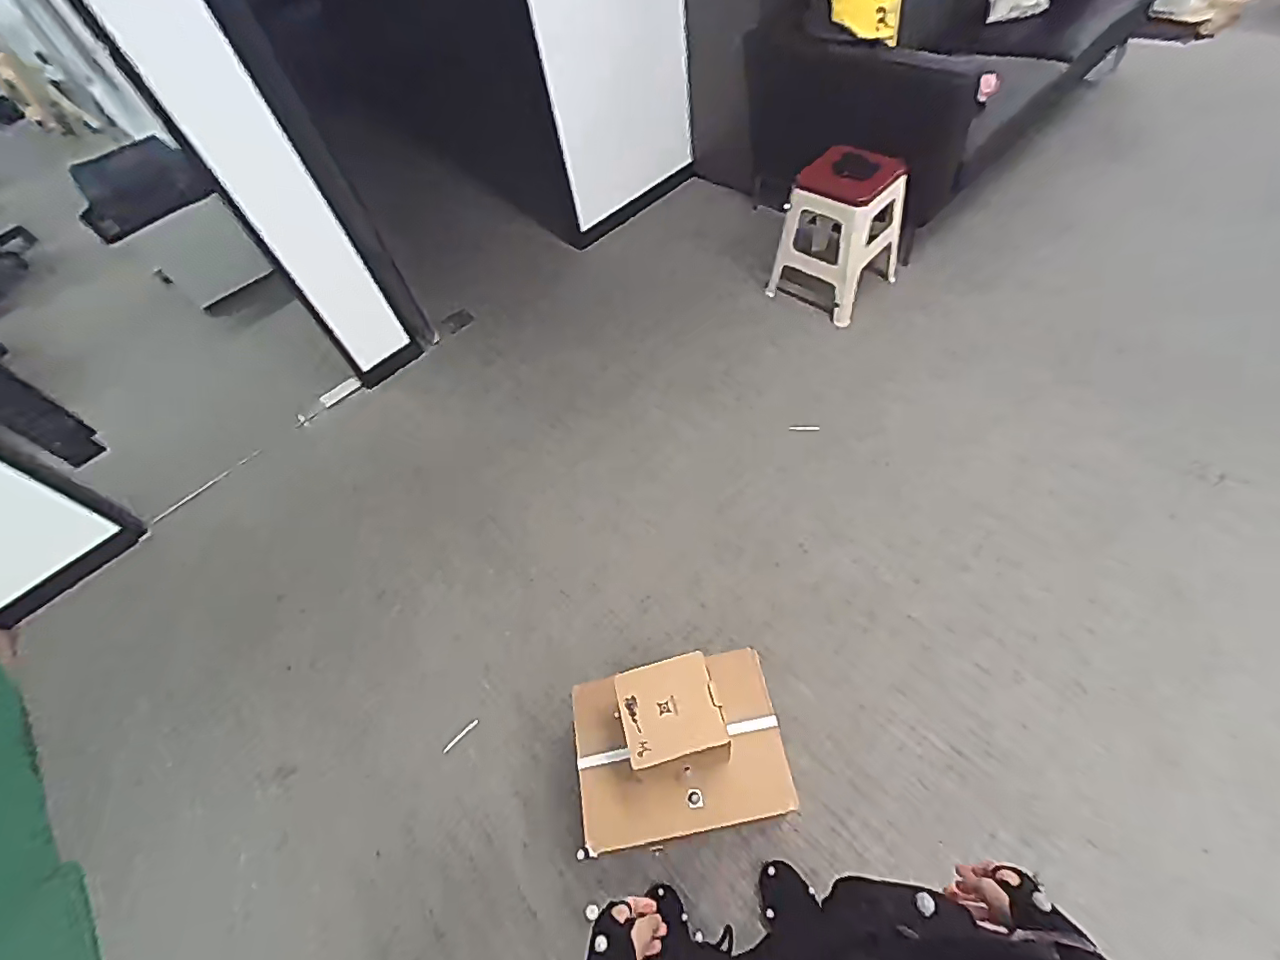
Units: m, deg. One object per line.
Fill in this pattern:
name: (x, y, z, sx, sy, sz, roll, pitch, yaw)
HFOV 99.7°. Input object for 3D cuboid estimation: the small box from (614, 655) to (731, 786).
small box: (0.060, 0.452, 1.012, 0.179, 0.176, 0.168, -14, 52, -3)
